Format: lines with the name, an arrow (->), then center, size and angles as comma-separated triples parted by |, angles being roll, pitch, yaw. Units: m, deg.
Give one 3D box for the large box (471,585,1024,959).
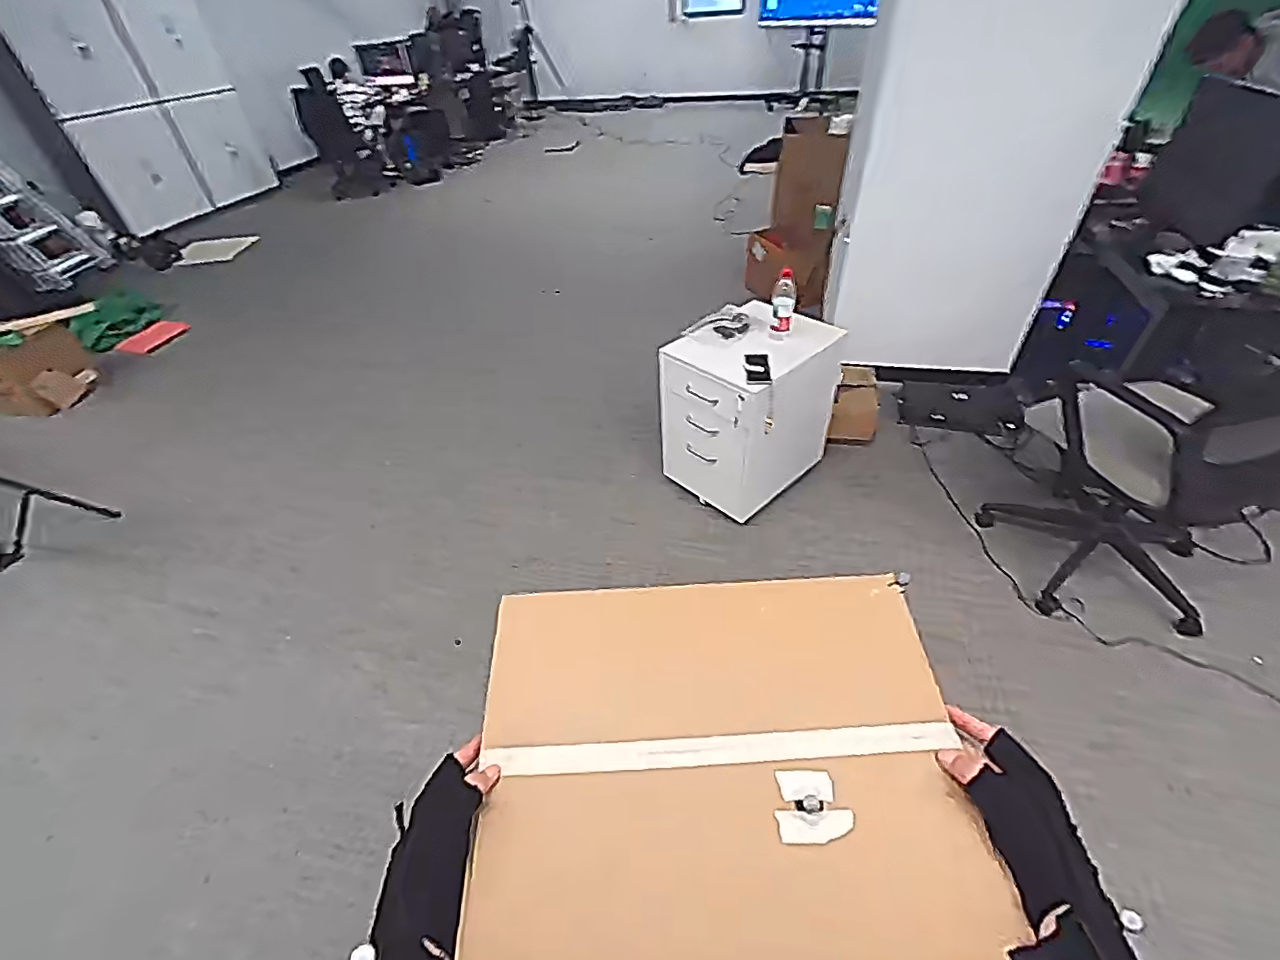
large box -> 0.068, 0.337, 0.584 | 0.408, 0.320, 0.320 | -4, 51, -1
